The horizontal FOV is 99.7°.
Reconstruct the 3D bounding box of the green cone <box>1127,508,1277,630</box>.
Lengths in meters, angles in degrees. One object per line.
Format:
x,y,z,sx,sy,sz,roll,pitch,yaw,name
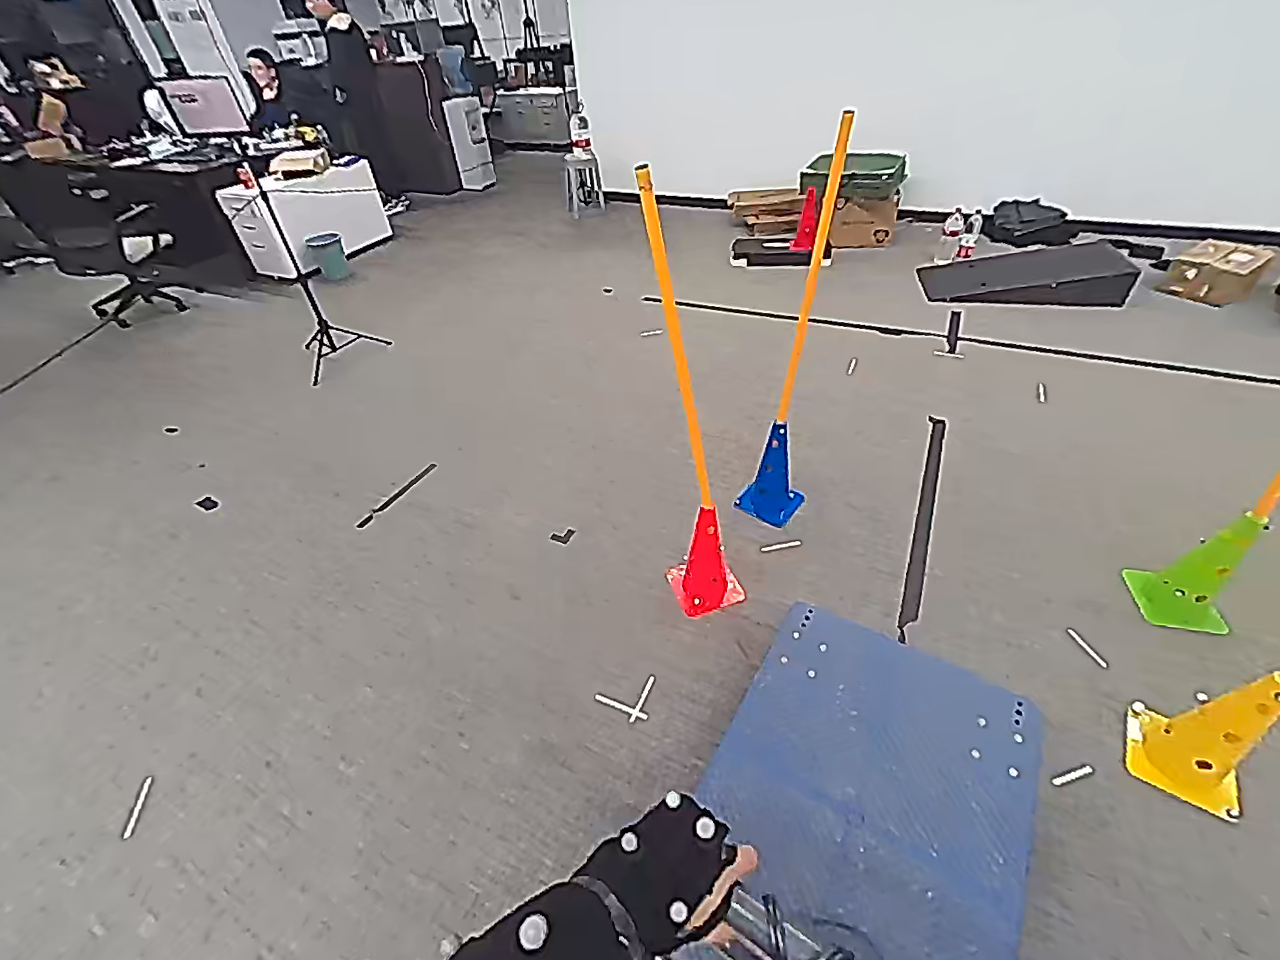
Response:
1.538,0.210,1.443,0.200,0.368,0.202,5,44,12,green cone

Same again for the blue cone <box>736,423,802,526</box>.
0.459,-0.042,1.854,0.193,0.380,0.192,28,51,31,blue cone

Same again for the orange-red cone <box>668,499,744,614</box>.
0.198,0.195,1.585,0.199,0.360,0.198,-14,43,-13,orange-red cone
